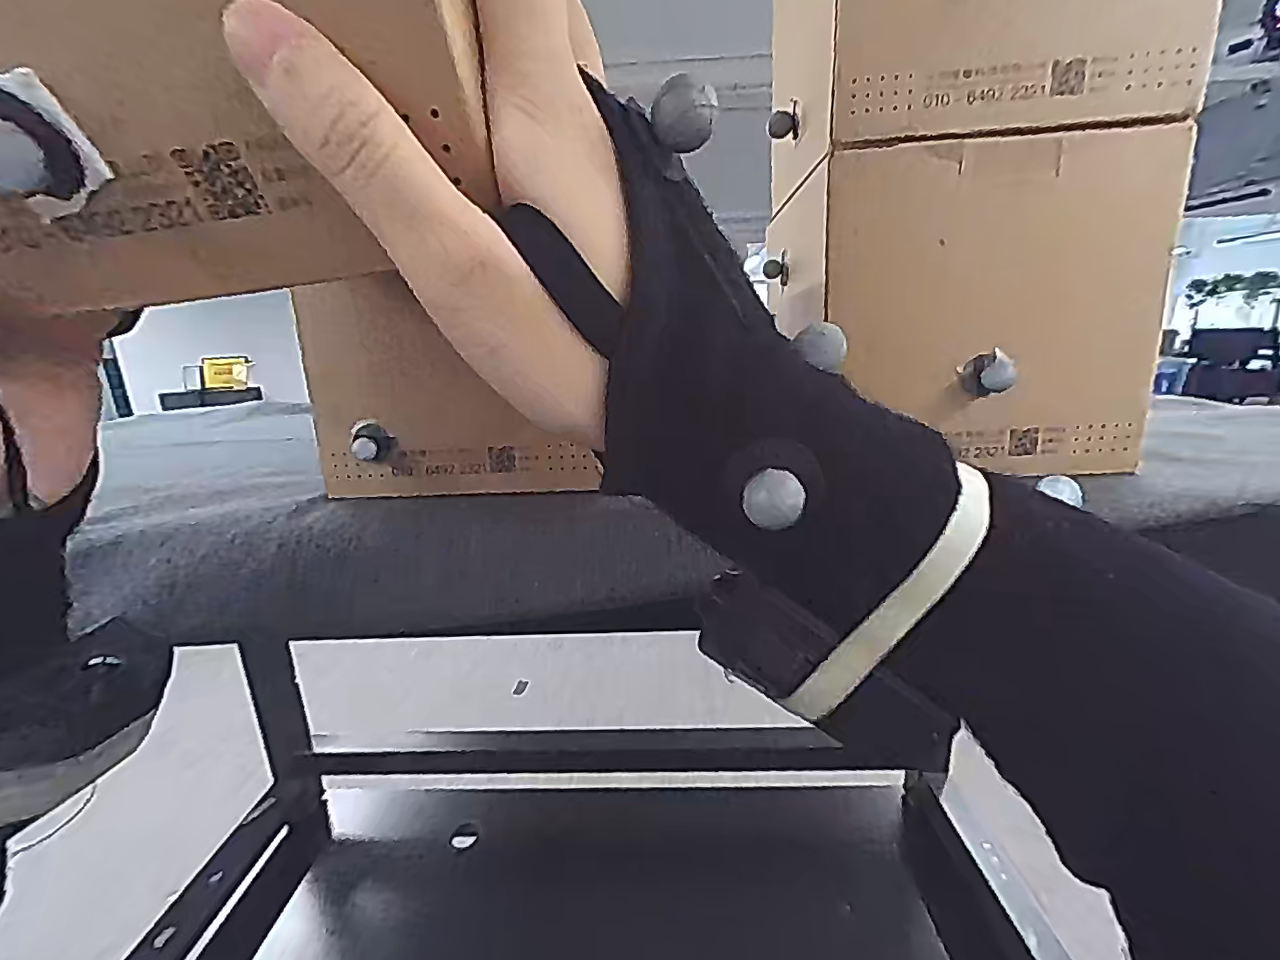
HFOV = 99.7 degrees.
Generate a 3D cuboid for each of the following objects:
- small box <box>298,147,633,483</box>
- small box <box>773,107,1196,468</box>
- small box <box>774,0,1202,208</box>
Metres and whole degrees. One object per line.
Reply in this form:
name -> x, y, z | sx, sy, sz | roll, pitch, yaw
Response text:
small box -> -0.093, -0.094, 0.363 | 0.168, 0.176, 0.179 | -2, 13, 3
small box -> 0.181, -0.106, 0.351 | 0.168, 0.176, 0.179 | -3, 14, 4
small box -> 0.174, -0.265, 0.311 | 0.168, 0.176, 0.179 | -2, 15, 4
